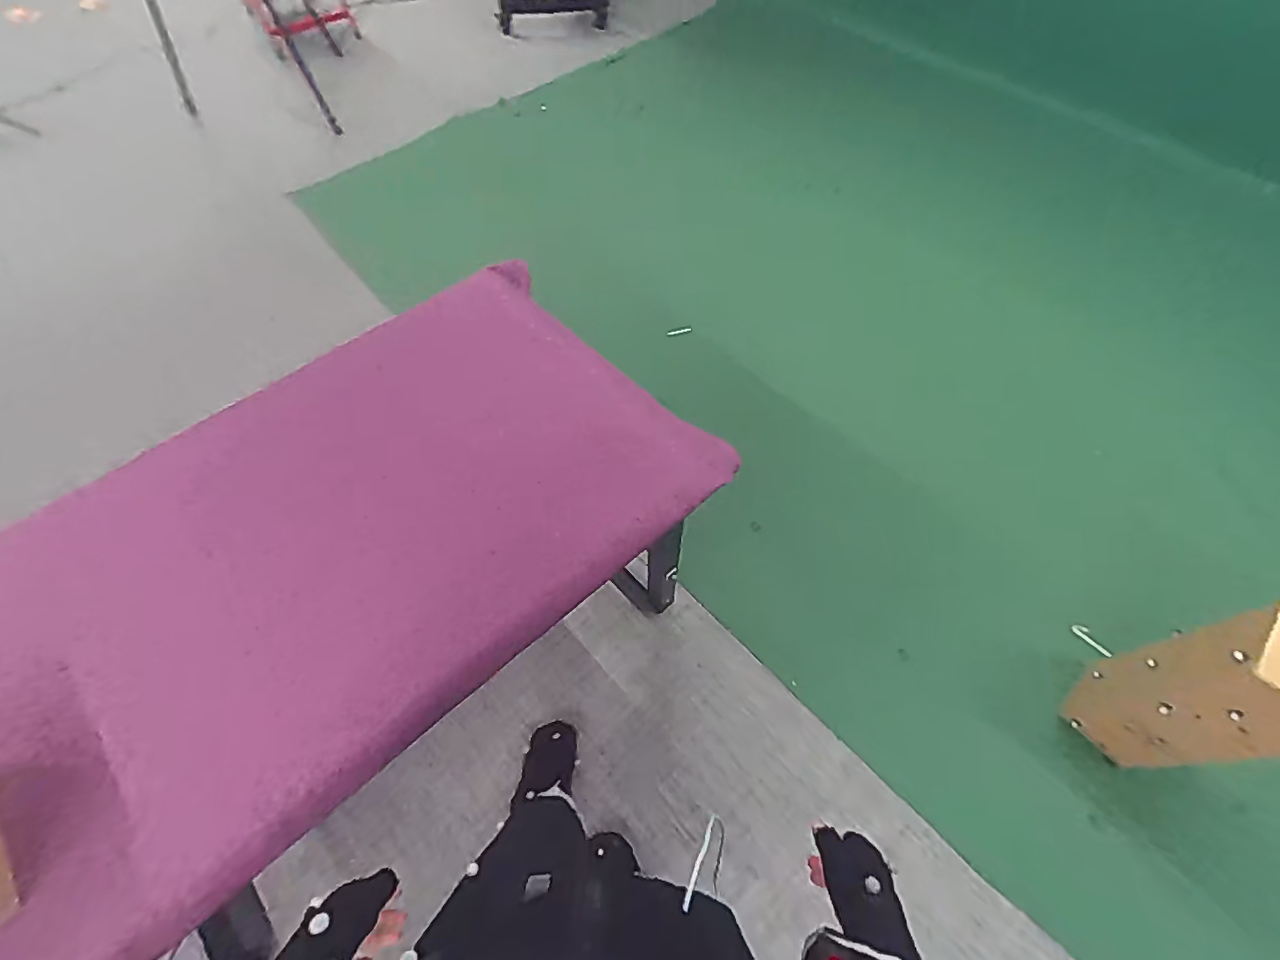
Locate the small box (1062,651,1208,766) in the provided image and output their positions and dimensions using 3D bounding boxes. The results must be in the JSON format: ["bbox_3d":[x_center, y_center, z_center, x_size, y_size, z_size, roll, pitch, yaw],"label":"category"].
[{"bbox_3d":[1.126,0.529,1.241,0.179,0.176,0.168,-38,67,-20],"label":"small box"}]

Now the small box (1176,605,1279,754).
[{"bbox_3d":[1.126,0.357,0.962,0.168,0.176,0.179,40,67,20],"label":"small box"}]
